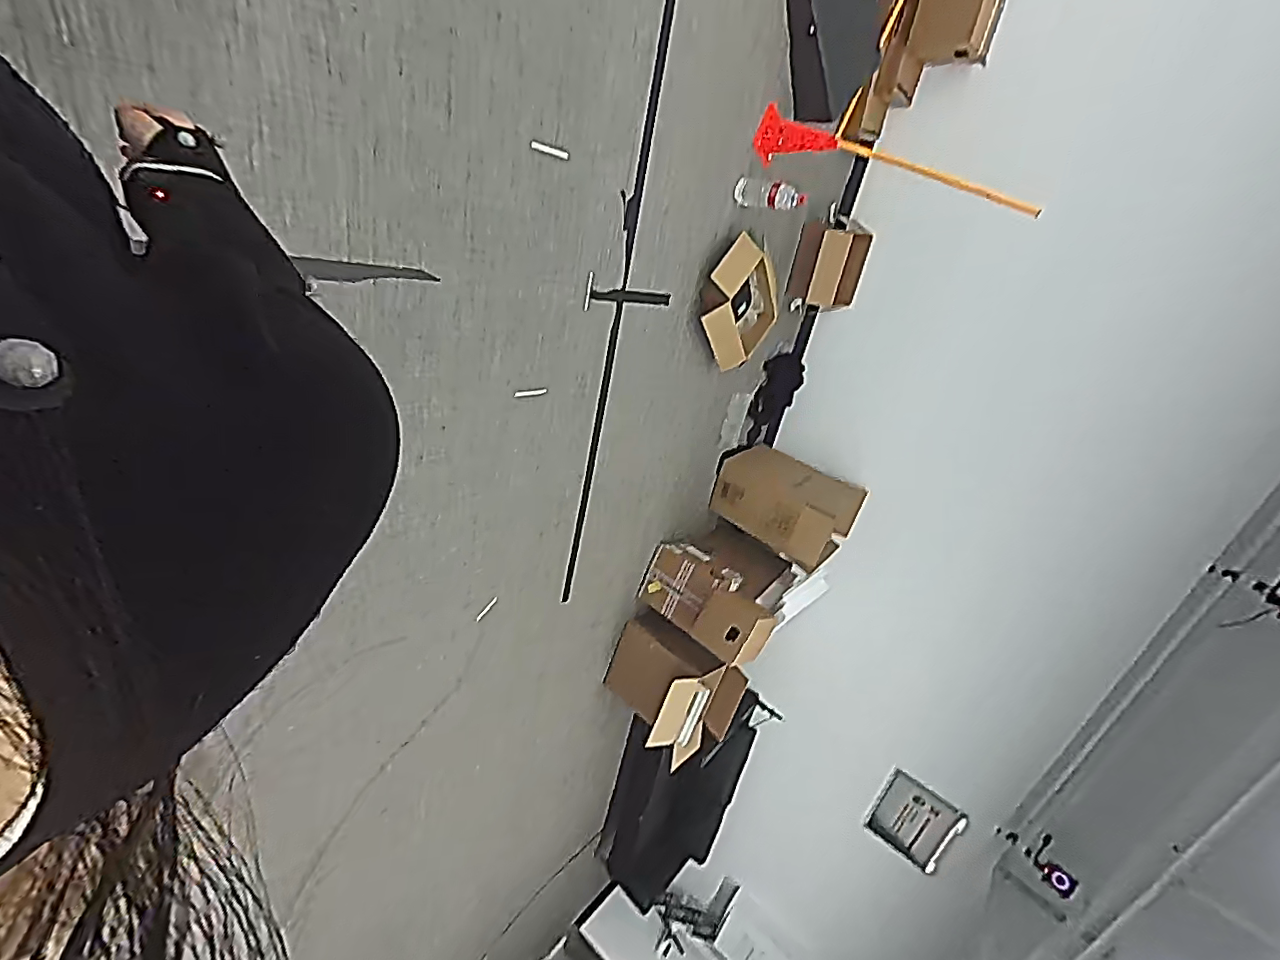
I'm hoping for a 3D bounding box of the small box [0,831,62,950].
[{"bbox_3d":[-1.522,0.978,1.269,0.168,0.176,0.179,-29,137,-43],"label":"small box"}]
